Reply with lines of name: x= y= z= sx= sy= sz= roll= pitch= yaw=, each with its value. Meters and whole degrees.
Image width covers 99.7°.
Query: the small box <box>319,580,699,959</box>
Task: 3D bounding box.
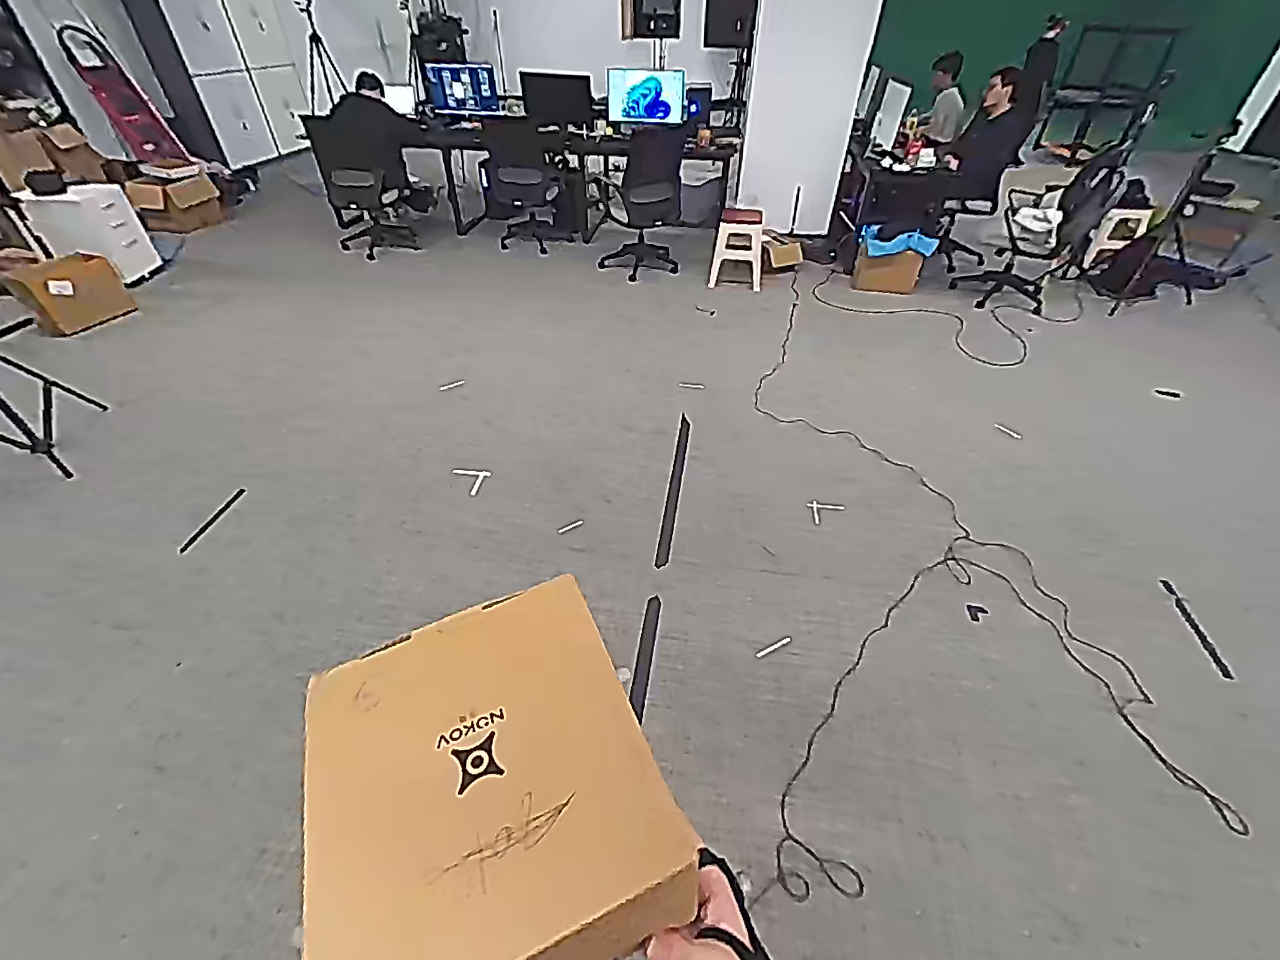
small box: x=-0.076 y=0.203 z=0.342 sx=0.168 sy=0.176 sz=0.179 roll=-22 pitch=47 yaw=-15
